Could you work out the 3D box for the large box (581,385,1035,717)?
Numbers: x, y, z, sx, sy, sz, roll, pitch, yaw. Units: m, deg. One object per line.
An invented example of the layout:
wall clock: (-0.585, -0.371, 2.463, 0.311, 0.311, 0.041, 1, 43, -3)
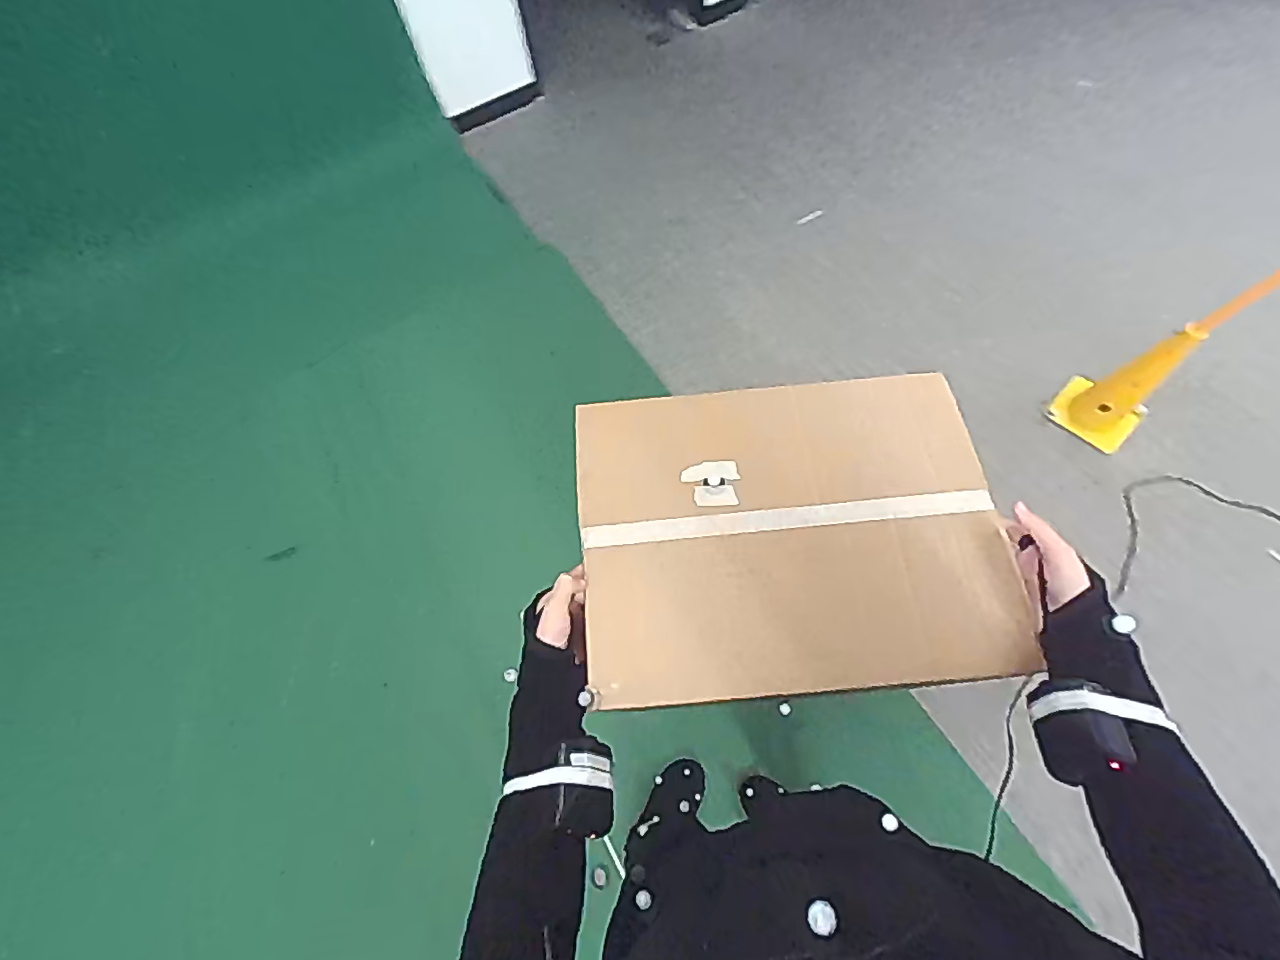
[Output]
large box: (0.155, 0.113, 0.678, 0.408, 0.320, 0.320, -5, 65, 2)
